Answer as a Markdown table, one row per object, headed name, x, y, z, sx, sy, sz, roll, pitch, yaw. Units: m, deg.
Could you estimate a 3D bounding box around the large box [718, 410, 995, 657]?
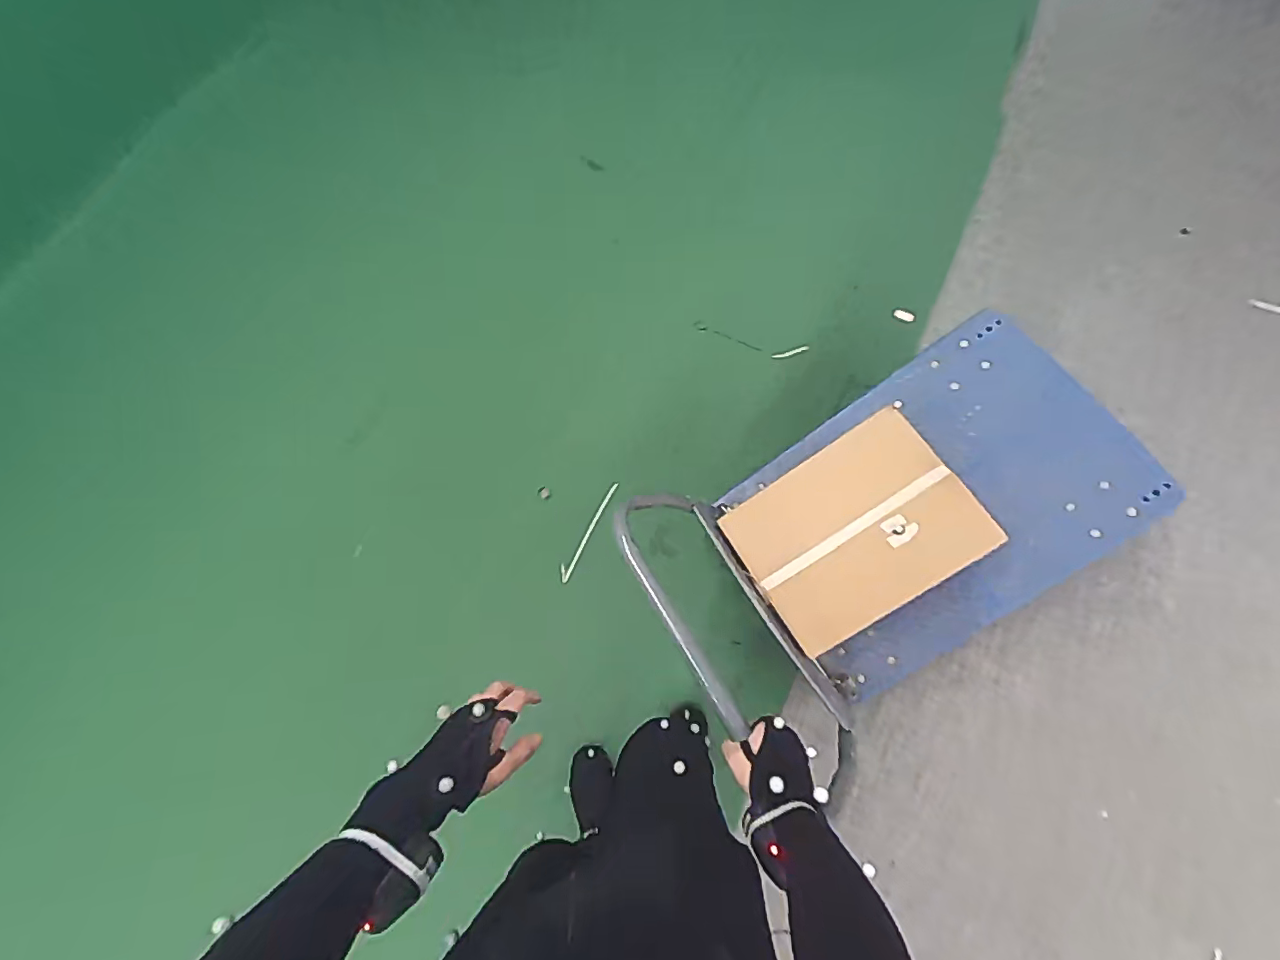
| name | x | y | z | sx | sy | sz | roll | pitch | yaw |
| --- | --- | --- | --- | --- | --- | --- | --- | --- | --- |
| large box | 0.434 | 0.126 | 1.161 | 0.408 | 0.320 | 0.320 | -35 | 72 | 8 |
